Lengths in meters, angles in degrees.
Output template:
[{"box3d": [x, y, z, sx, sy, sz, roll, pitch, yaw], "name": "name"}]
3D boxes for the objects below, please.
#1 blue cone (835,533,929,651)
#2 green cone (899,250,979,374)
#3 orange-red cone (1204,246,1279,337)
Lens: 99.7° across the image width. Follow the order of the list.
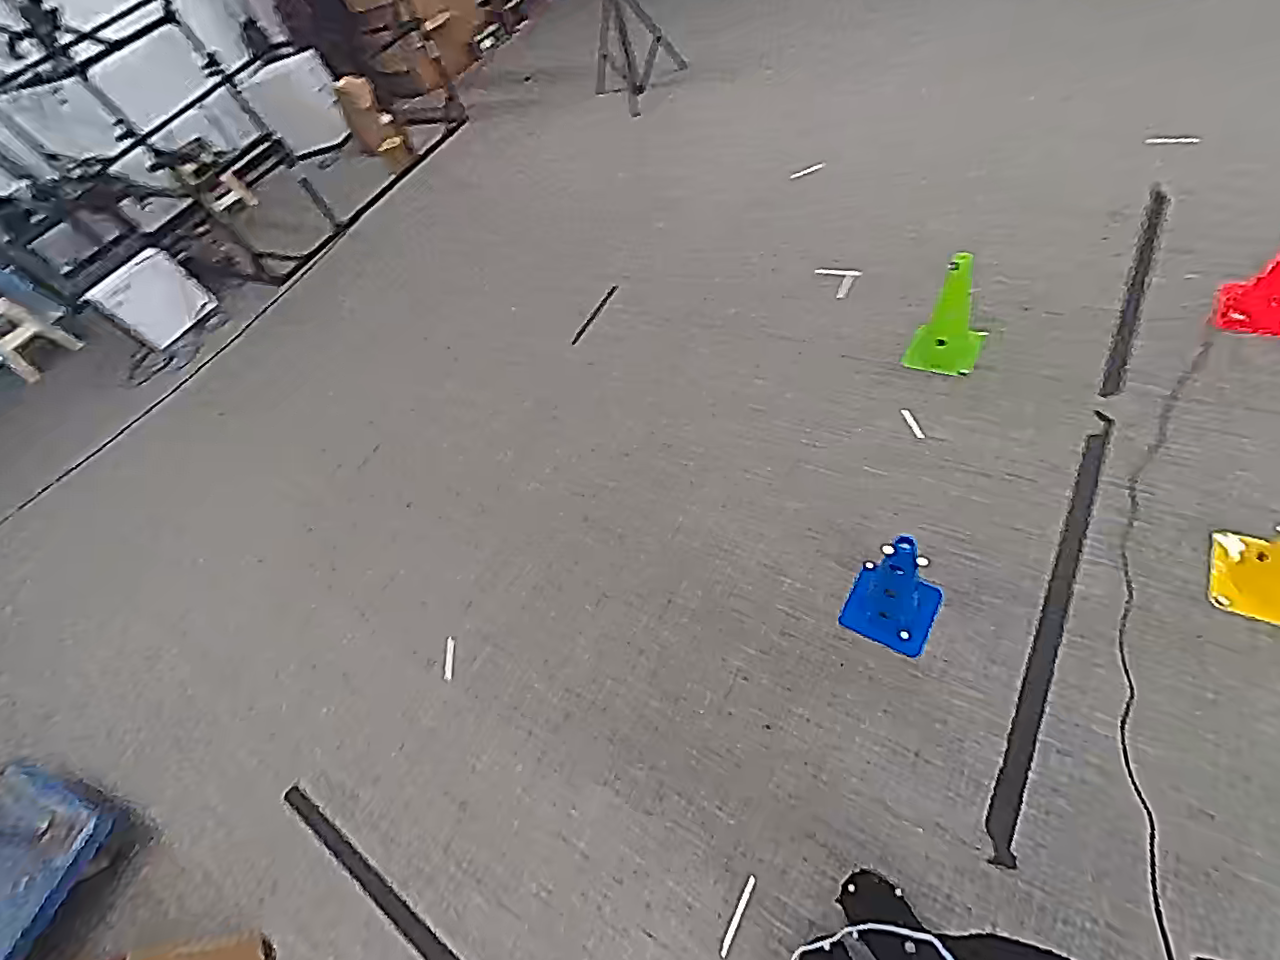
[{"box3d": [0.568, 0.230, 1.248, 0.192, 0.380, 0.193, 23, 66, 32], "name": "blue cone"}, {"box3d": [0.924, -0.526, 1.632, 0.202, 0.368, 0.200, 19, 64, 31], "name": "green cone"}, {"box3d": [1.701, -0.578, 1.396, 0.199, 0.360, 0.198, 24, 69, 30], "name": "orange-red cone"}]
